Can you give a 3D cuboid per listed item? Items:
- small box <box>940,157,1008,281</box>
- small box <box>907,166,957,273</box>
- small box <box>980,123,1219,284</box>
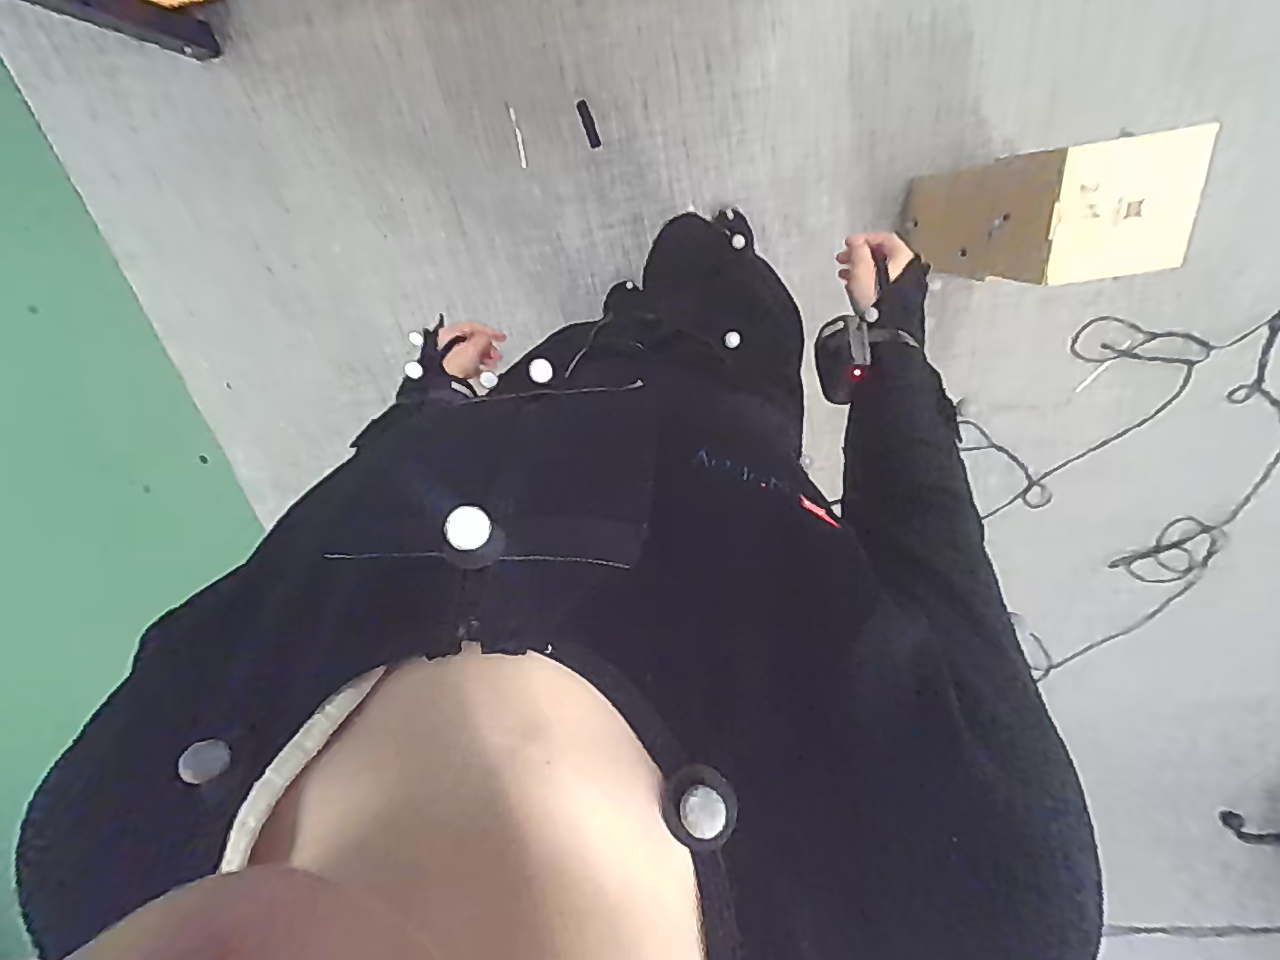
[{"bbox_3d":[0.628,-0.446,0.908,0.168,0.176,0.179,-8,114,6],"label":"small box"},{"bbox_3d":[0.640,-0.516,1.055,0.168,0.176,0.179,-6,117,6],"label":"small box"},{"bbox_3d":[0.619,-0.381,0.757,0.179,0.176,0.168,-7,115,6],"label":"small box"}]
